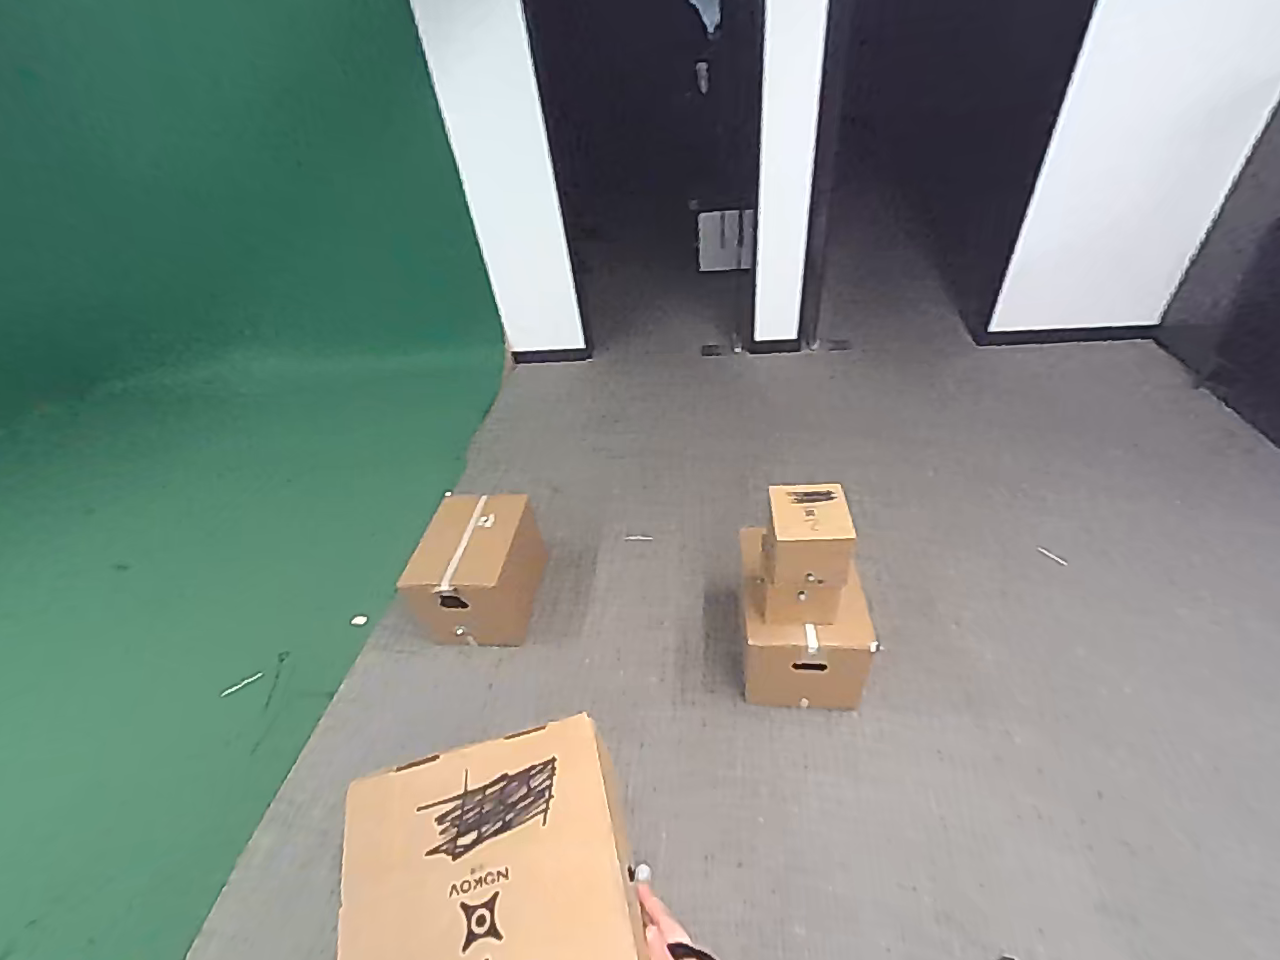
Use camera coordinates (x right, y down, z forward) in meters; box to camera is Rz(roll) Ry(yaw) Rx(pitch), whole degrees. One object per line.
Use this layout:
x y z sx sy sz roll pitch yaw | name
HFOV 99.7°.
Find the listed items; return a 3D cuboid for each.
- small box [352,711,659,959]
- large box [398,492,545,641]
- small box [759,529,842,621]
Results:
-0.082 0.293 0.384 0.168 0.176 0.179 -13 53 -6 | small box
-0.542 0.291 1.830 0.320 0.320 0.408 -1 40 8 | large box
0.398 0.243 1.372 0.179 0.176 0.168 -3 41 8 | small box
